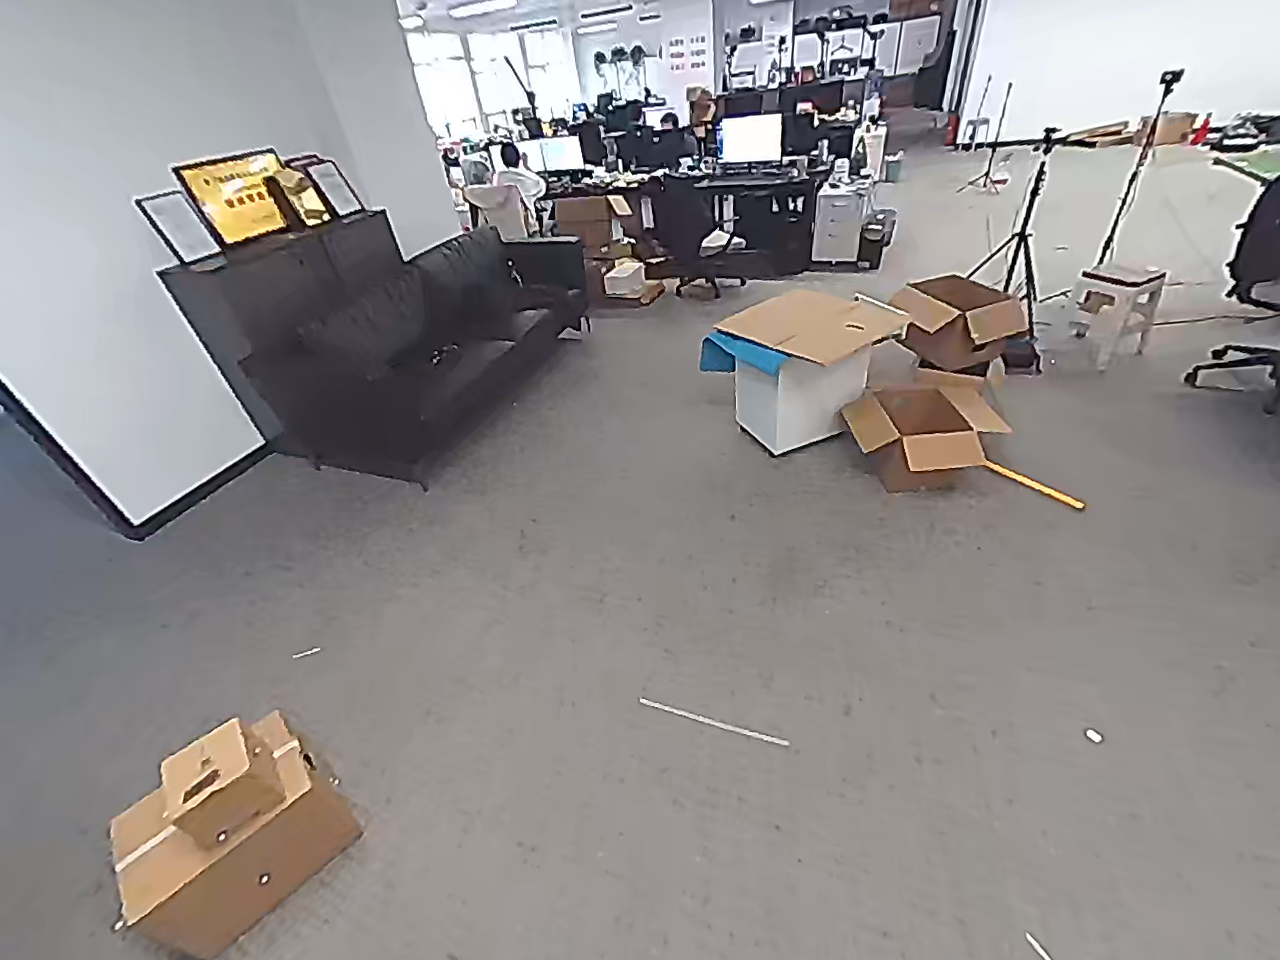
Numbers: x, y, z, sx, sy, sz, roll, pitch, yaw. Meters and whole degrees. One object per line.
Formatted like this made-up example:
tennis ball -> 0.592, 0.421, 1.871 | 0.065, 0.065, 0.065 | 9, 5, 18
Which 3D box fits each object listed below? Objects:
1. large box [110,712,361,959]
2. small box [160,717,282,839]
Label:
large box -> -1.052, 0.929, 1.442 | 0.320, 0.320, 0.408 | 28, 50, 38
small box -> -0.999, 0.721, 1.298 | 0.168, 0.176, 0.179 | -32, 45, -28
